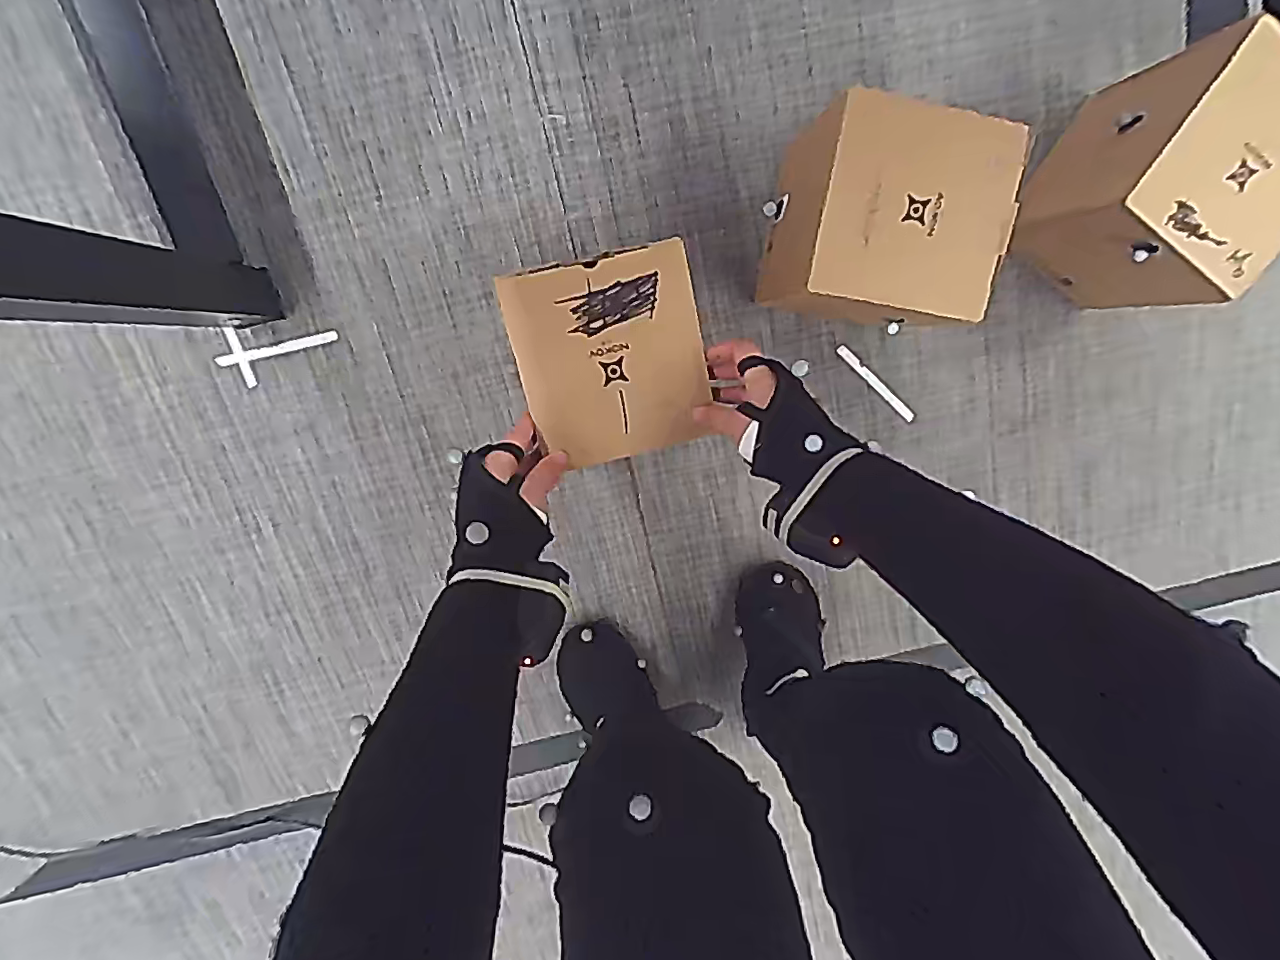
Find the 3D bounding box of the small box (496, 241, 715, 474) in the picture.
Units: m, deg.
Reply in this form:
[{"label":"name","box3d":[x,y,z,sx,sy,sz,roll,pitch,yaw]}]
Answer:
[{"label":"small box","box3d":[-0.037,-0.123,0.554,0.168,0.176,0.179,-14,106,-4]}]

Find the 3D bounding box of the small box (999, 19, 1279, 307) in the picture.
[{"label":"small box","box3d":[0.532,-0.301,0.564,0.168,0.176,0.179,29,100,-12]}]

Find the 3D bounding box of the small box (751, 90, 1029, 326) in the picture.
[{"label":"small box","box3d":[0.232,-0.253,0.551,0.179,0.176,0.168,7,103,-6]}]
